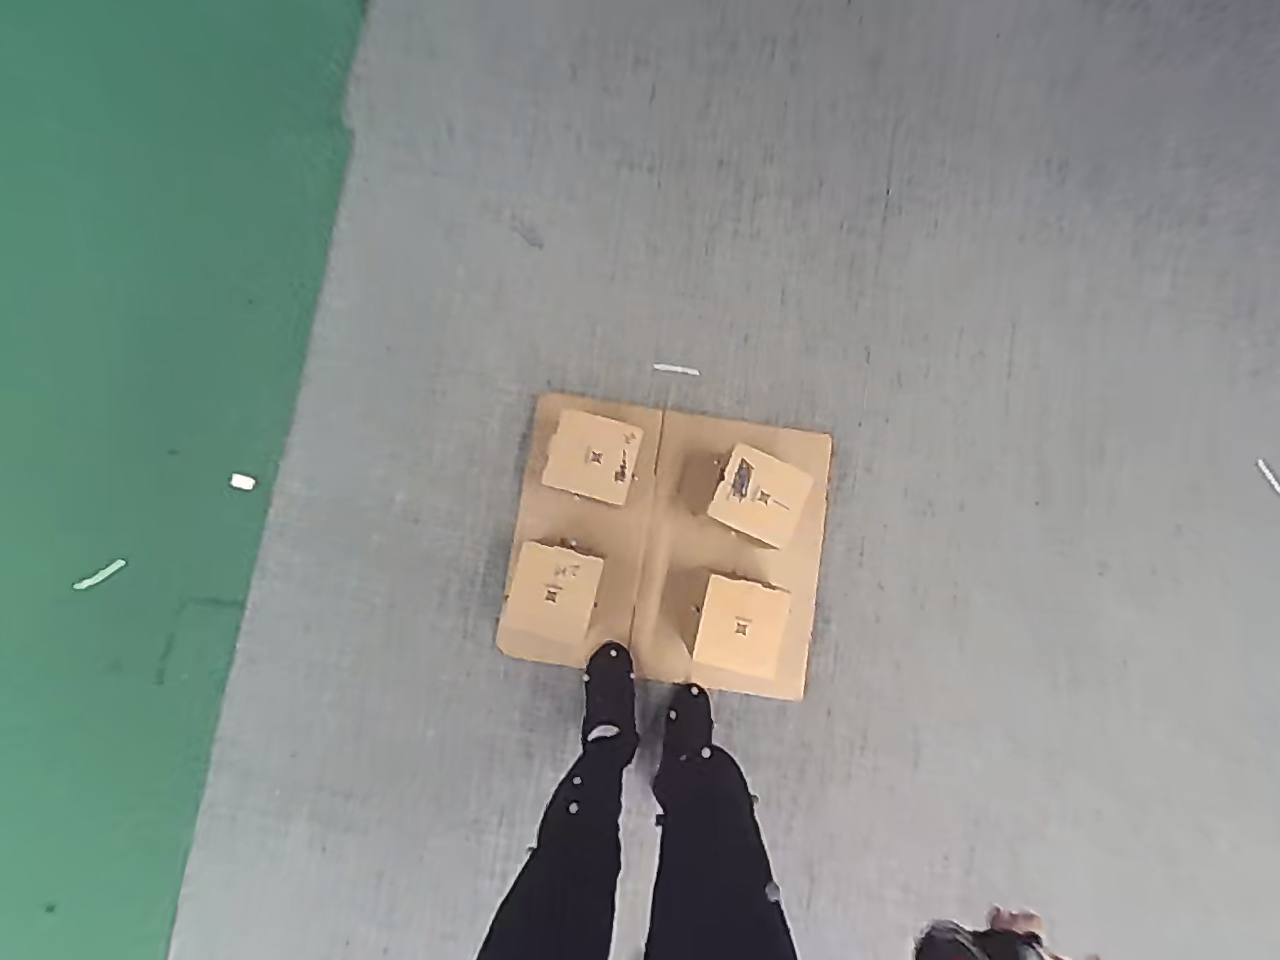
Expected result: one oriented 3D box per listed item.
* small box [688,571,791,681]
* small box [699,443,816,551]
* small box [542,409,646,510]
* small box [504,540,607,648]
[{"bbox_3d":[0.199,0.295,1.128,0.168,0.176,0.179,13,83,1],"label":"small box"},{"bbox_3d":[0.240,0.043,1.155,0.179,0.176,0.168,25,84,1],"label":"small box"},{"bbox_3d":[-0.093,-0.036,1.163,0.179,0.176,0.168,16,83,1],"label":"small box"},{"bbox_3d":[-0.166,0.230,1.132,0.168,0.176,0.179,14,83,0],"label":"small box"}]
